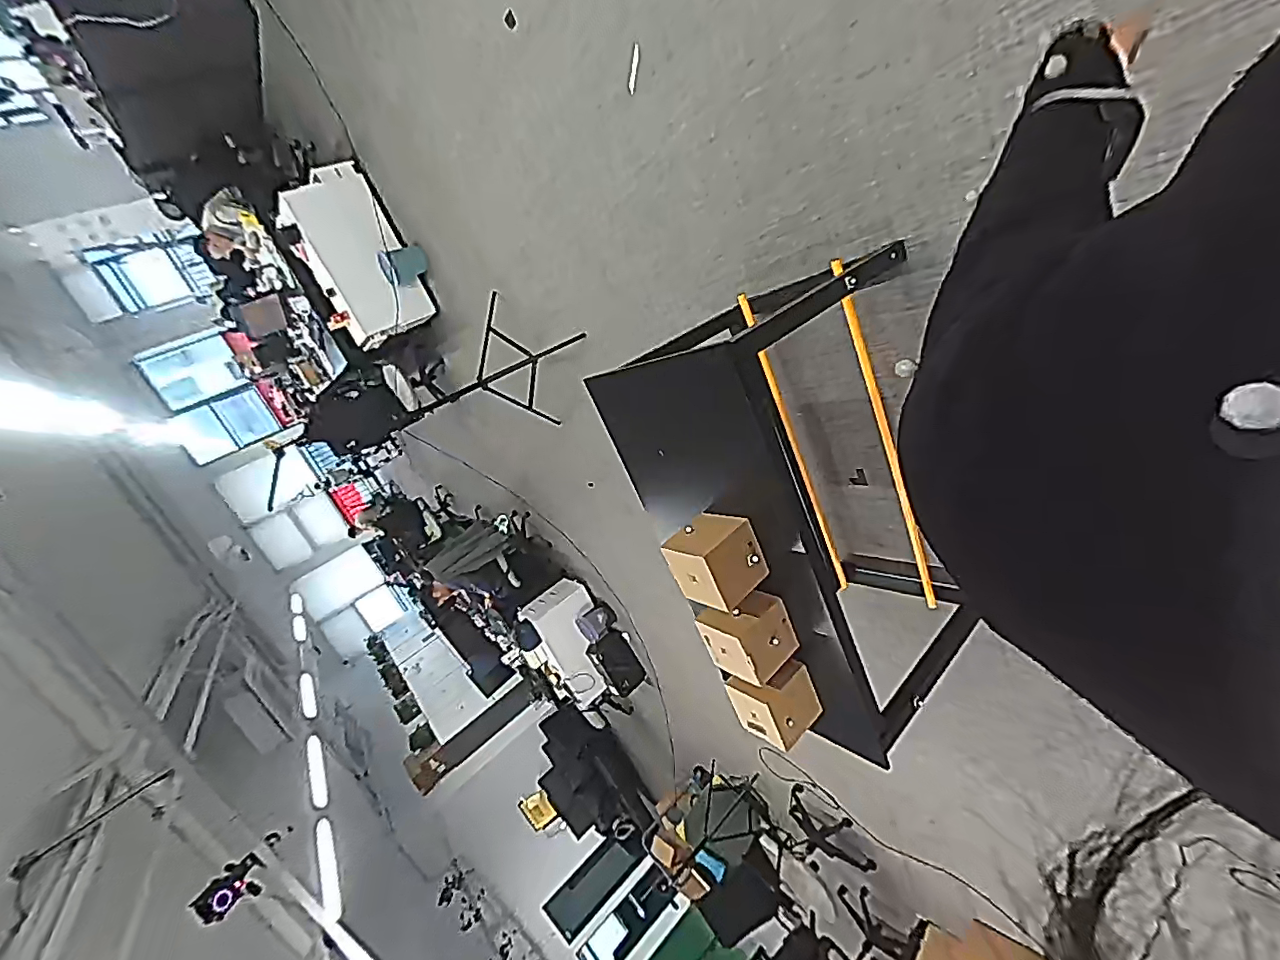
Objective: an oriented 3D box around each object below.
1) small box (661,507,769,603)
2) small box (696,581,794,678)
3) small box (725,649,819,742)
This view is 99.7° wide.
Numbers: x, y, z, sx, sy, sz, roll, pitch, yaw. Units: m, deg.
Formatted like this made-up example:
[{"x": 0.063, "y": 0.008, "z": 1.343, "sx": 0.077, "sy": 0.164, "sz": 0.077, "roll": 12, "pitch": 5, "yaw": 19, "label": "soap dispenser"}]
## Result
[{"x": 0.192, "y": 0.181, "z": 1.373, "sx": 0.179, "sy": 0.176, "sz": 0.168, "roll": 2, "pitch": 124, "yaw": 56, "label": "small box"}, {"x": 0.288, "y": 0.387, "z": 1.445, "sx": 0.179, "sy": 0.176, "sz": 0.168, "roll": 4, "pitch": 123, "yaw": 56, "label": "small box"}, {"x": 0.377, "y": 0.587, "z": 1.525, "sx": 0.168, "sy": 0.176, "sz": 0.179, "roll": 4, "pitch": 124, "yaw": 56, "label": "small box"}]
